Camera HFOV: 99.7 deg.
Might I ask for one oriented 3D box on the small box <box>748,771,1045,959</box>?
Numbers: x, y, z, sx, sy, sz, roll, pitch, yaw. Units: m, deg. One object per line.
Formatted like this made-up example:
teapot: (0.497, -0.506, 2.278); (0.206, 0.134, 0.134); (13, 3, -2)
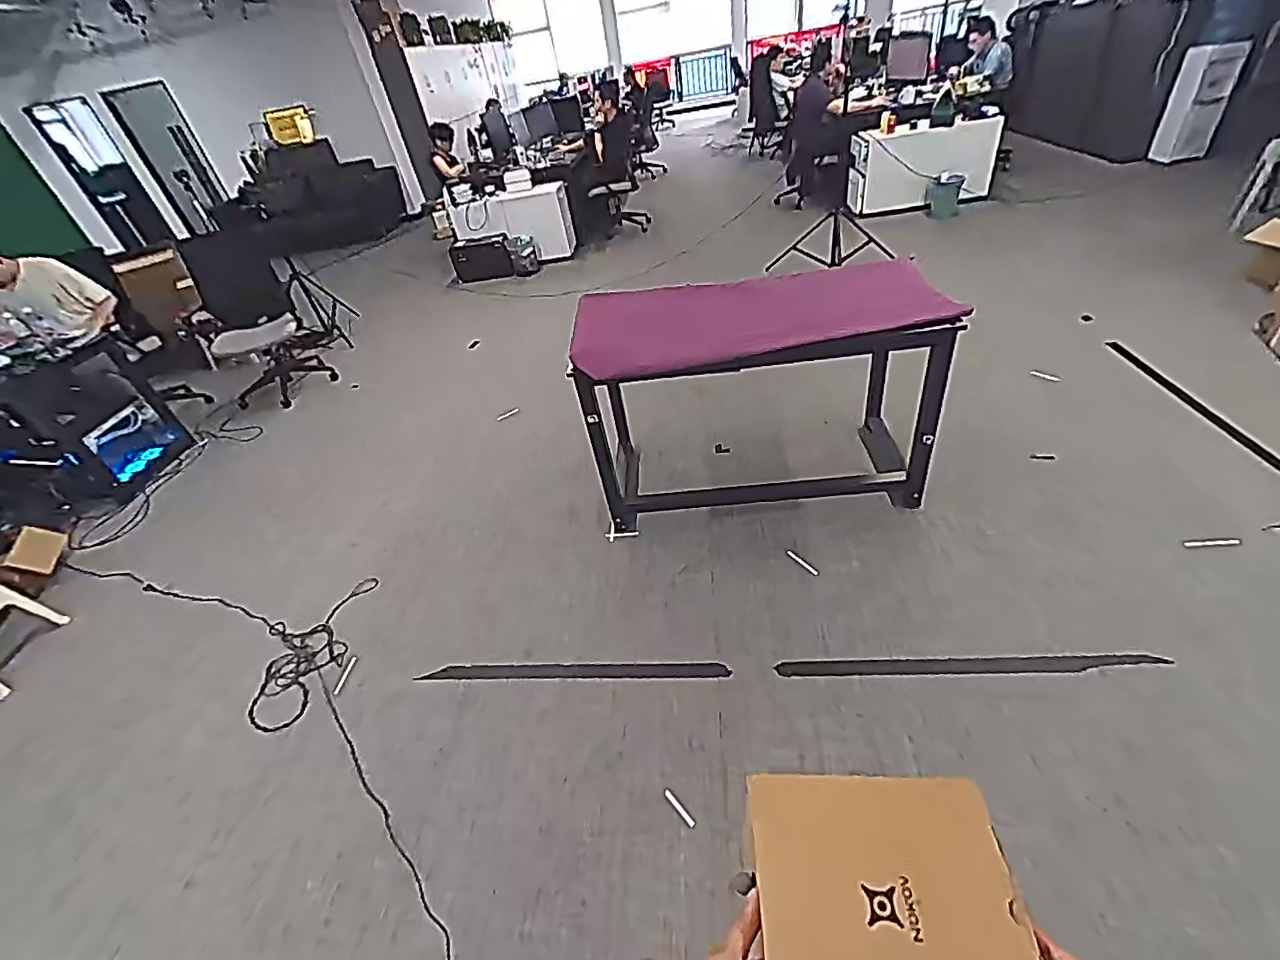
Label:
small box: (0.178, 0.345, 0.420); (0.179, 0.176, 0.168); (-2, 44, 6)
